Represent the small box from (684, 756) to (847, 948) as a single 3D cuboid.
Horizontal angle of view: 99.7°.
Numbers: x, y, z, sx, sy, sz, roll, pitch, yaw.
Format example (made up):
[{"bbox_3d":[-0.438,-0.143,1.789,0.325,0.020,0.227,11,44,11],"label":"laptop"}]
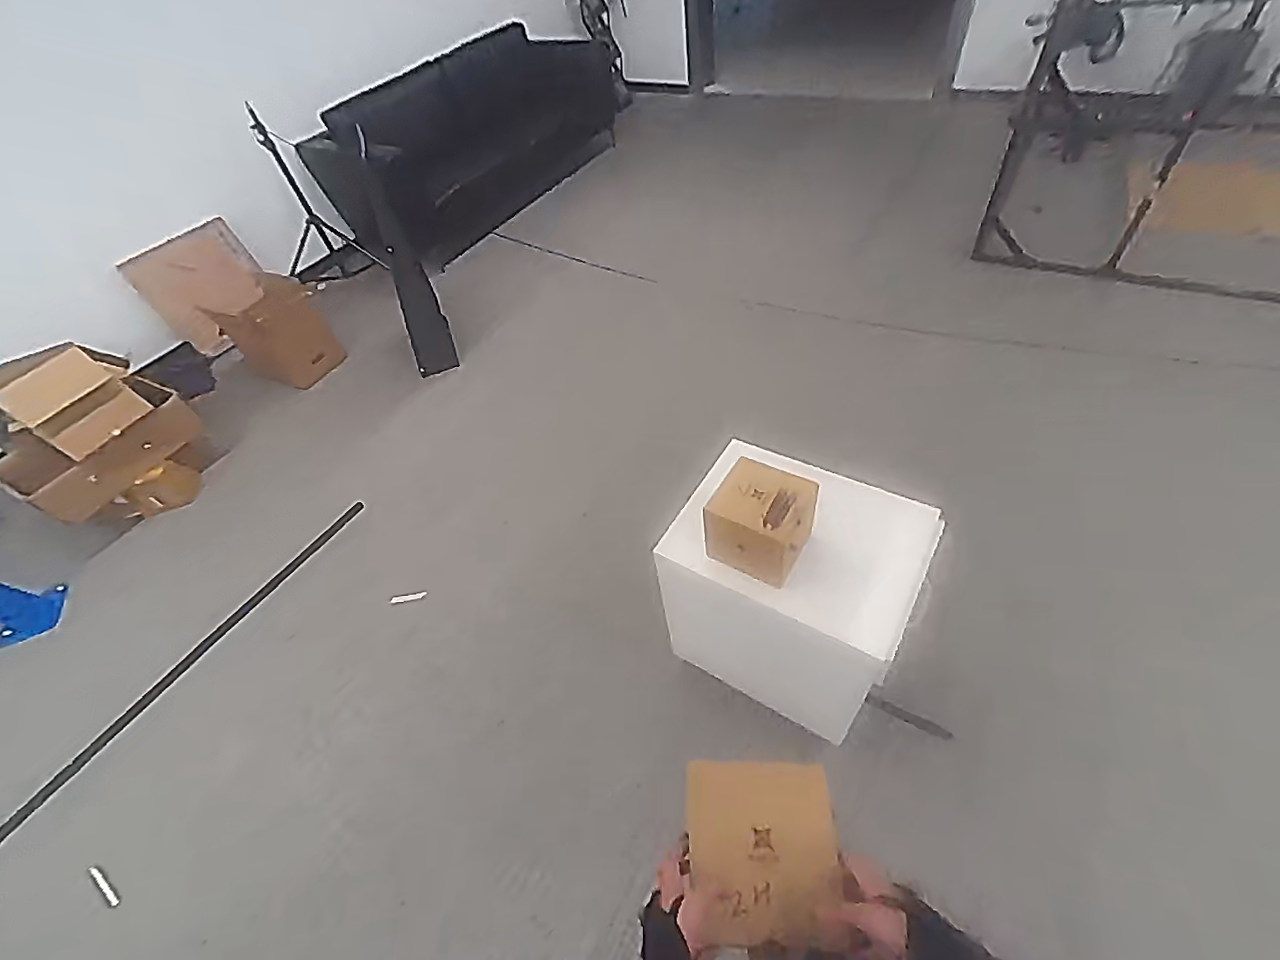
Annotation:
[{"bbox_3d":[0.140,0.459,0.674,0.168,0.176,0.179,0,53,4],"label":"small box"}]
